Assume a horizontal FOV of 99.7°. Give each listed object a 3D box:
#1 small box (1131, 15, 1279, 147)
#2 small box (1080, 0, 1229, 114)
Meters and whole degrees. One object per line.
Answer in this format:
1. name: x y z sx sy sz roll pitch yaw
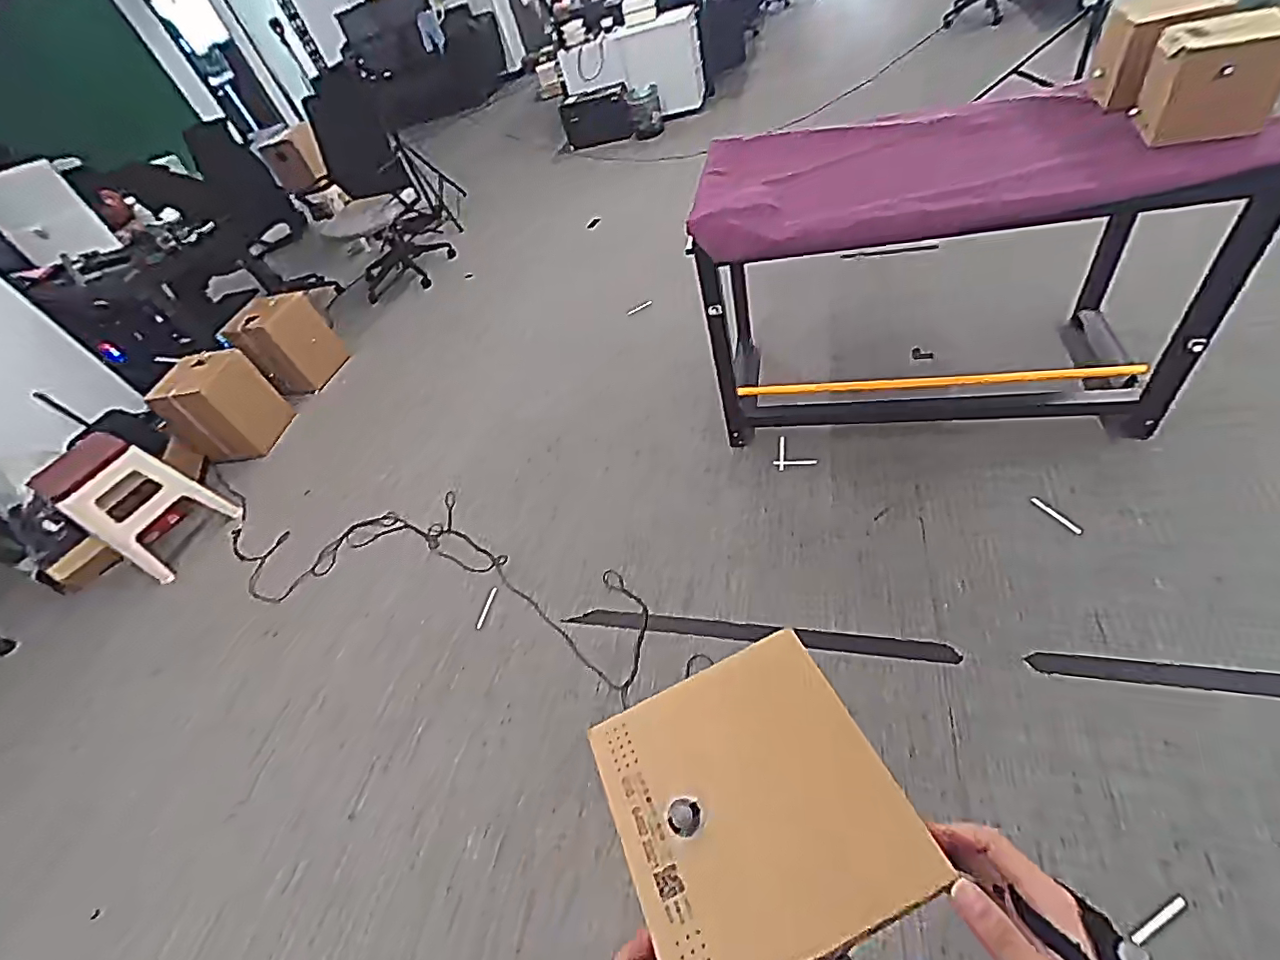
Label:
1. small box: 1.137 -0.796 1.091 0.179 0.176 0.168 4 50 22
2. small box: 1.164 -0.976 1.241 0.179 0.176 0.168 0 51 18
